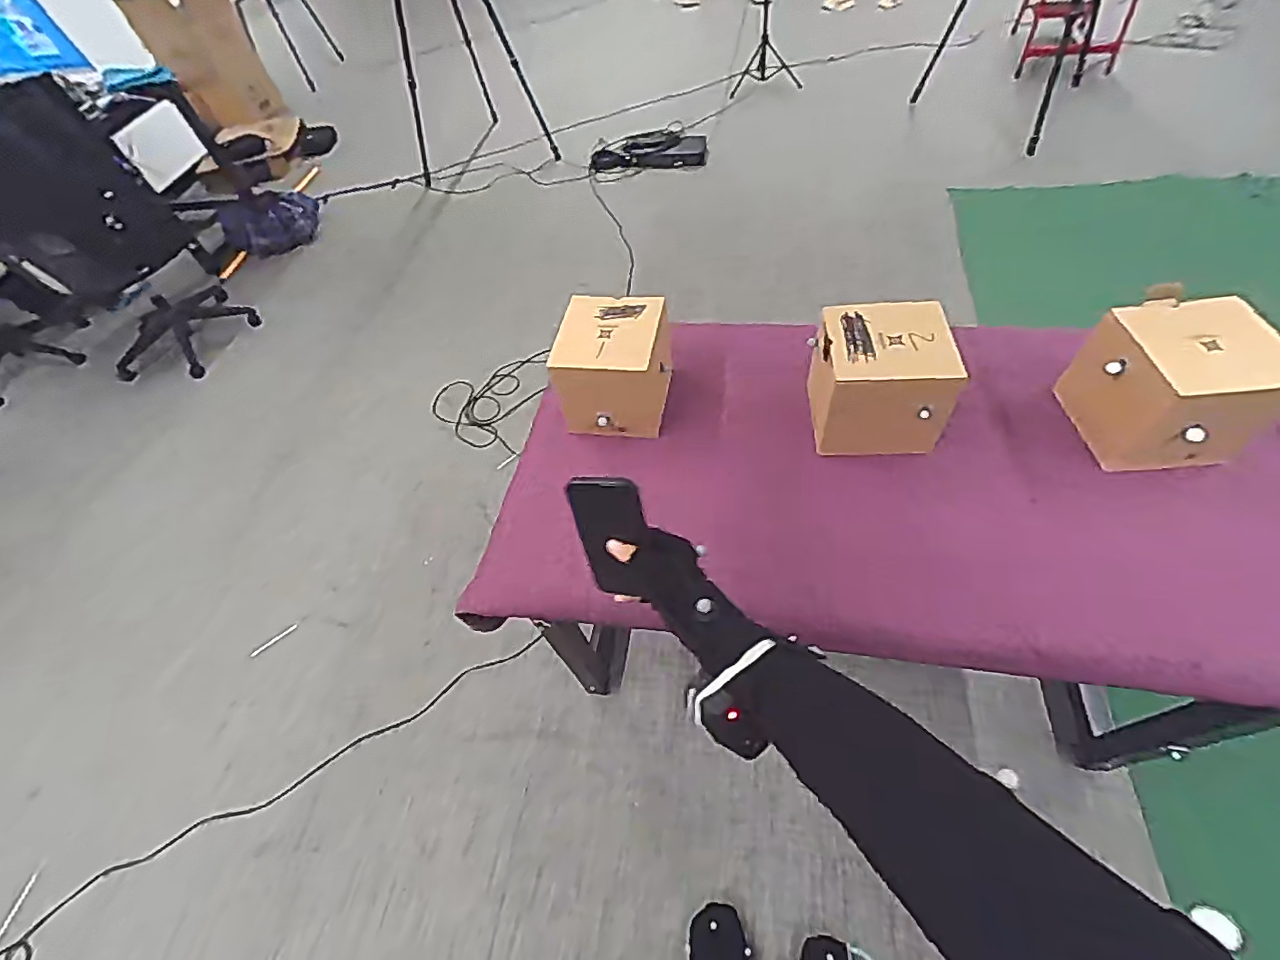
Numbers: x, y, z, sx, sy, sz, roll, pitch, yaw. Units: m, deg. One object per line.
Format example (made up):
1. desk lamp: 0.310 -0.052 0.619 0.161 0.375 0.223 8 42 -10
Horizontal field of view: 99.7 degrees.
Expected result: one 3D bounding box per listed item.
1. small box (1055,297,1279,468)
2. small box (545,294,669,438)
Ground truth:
1. small box: 0.750 -0.130 0.772 0.168 0.176 0.179 -5 54 6
2. small box: -0.045 -0.196 0.935 0.168 0.176 0.179 5 57 12
